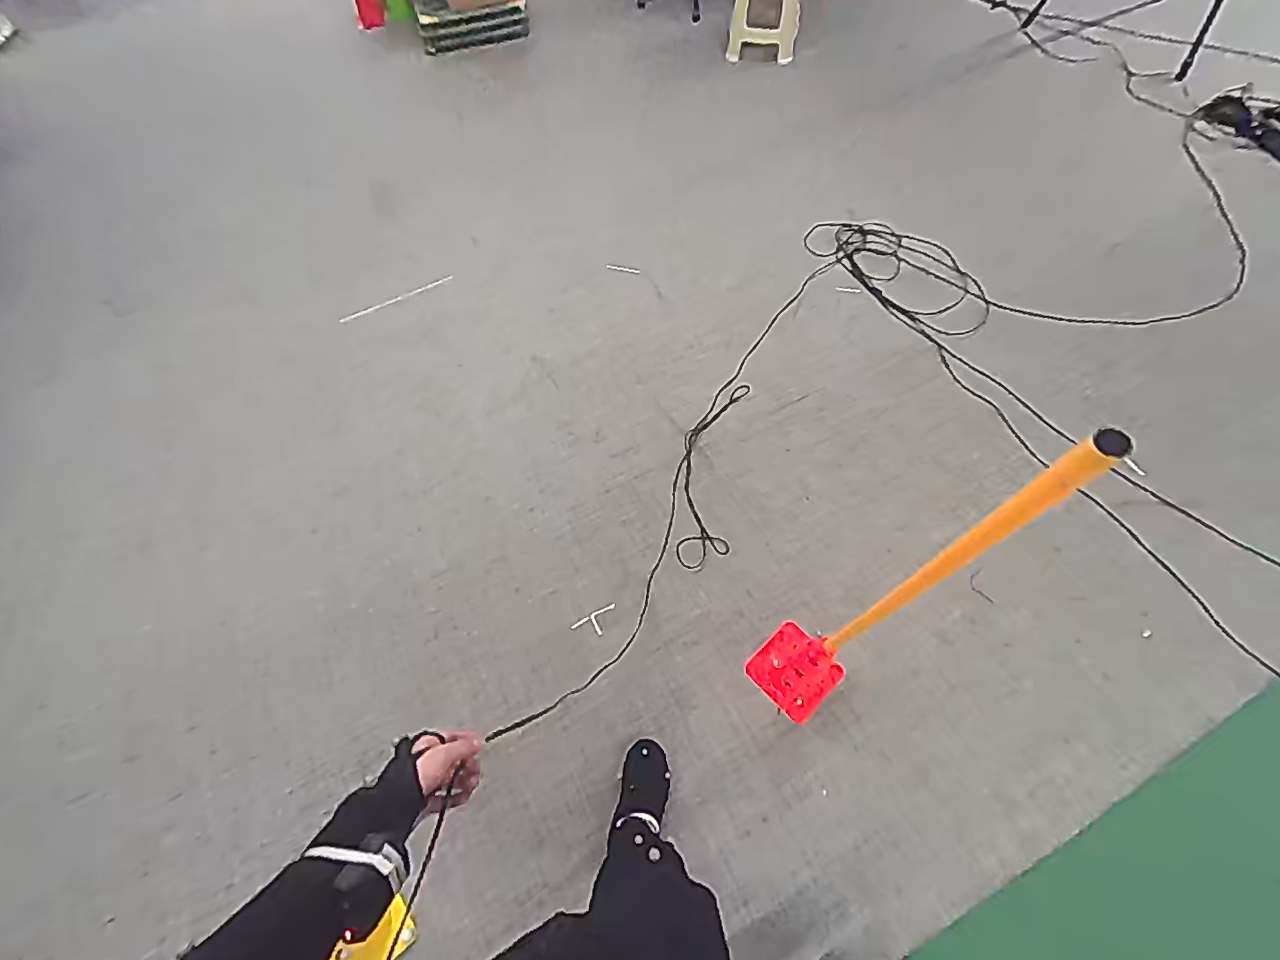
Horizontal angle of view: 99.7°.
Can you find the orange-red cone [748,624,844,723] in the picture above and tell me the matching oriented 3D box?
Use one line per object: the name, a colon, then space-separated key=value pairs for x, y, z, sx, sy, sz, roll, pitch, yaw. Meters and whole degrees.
orange-red cone: x=0.410 y=0.430 z=1.288 sx=0.199 sy=0.360 sz=0.198 roll=-39 pitch=68 yaw=-18
